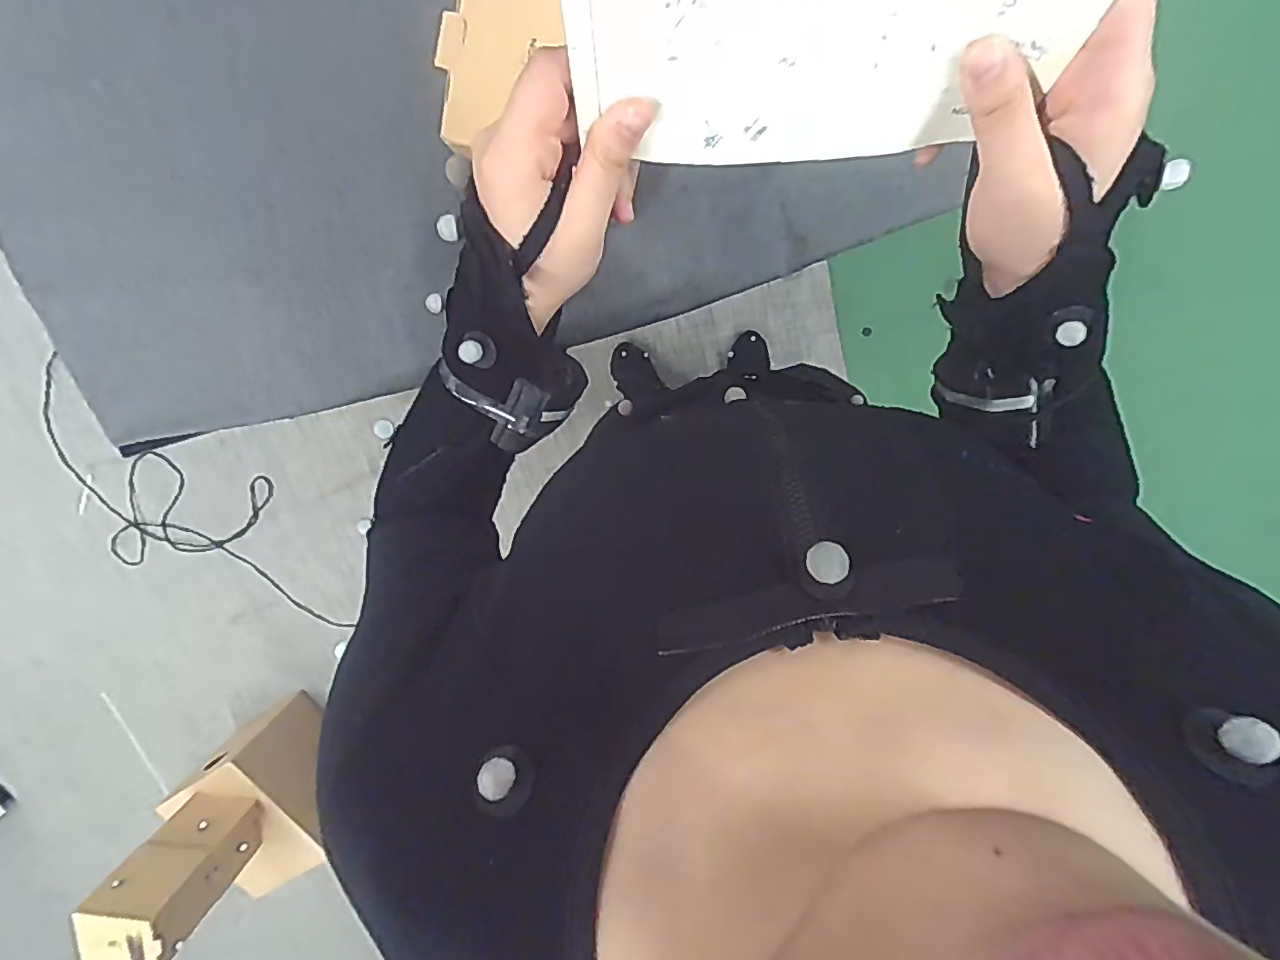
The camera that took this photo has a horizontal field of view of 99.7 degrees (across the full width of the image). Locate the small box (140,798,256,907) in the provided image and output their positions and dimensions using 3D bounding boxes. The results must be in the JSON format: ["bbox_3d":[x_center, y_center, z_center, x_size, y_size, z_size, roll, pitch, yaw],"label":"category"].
[{"bbox_3d":[-1.144,0.971,1.419,0.179,0.176,0.168,6,105,-1],"label":"small box"}]

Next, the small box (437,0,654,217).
[{"bbox_3d":[-0.086,-0.393,0.568,0.179,0.176,0.168,14,104,0],"label":"small box"}]
